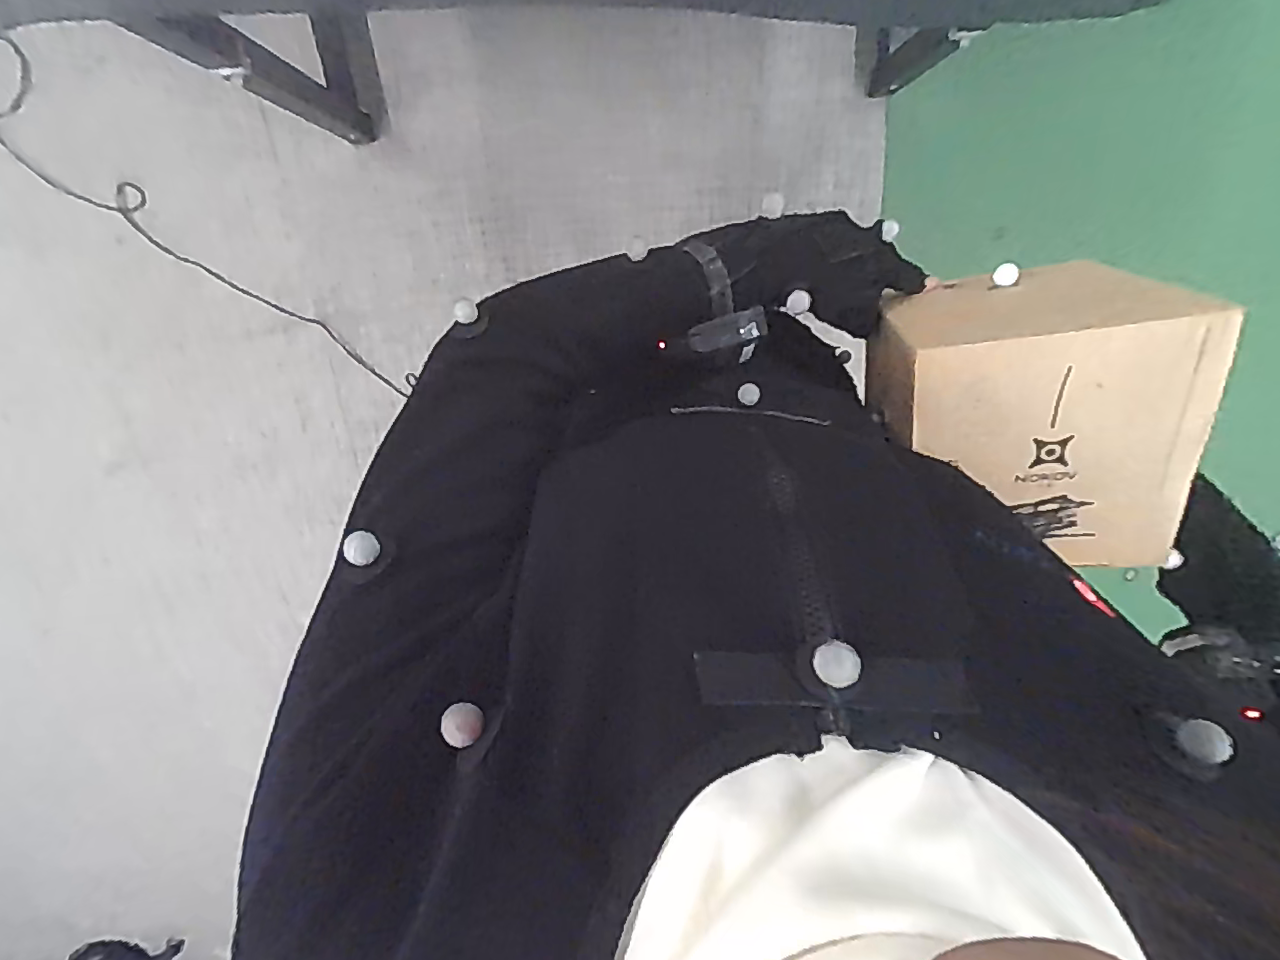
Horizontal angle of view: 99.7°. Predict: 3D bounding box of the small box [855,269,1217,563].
[{"bbox_3d":[0.272,-0.054,0.428,0.168,0.176,0.179,-3,119,13],"label":"small box"}]
